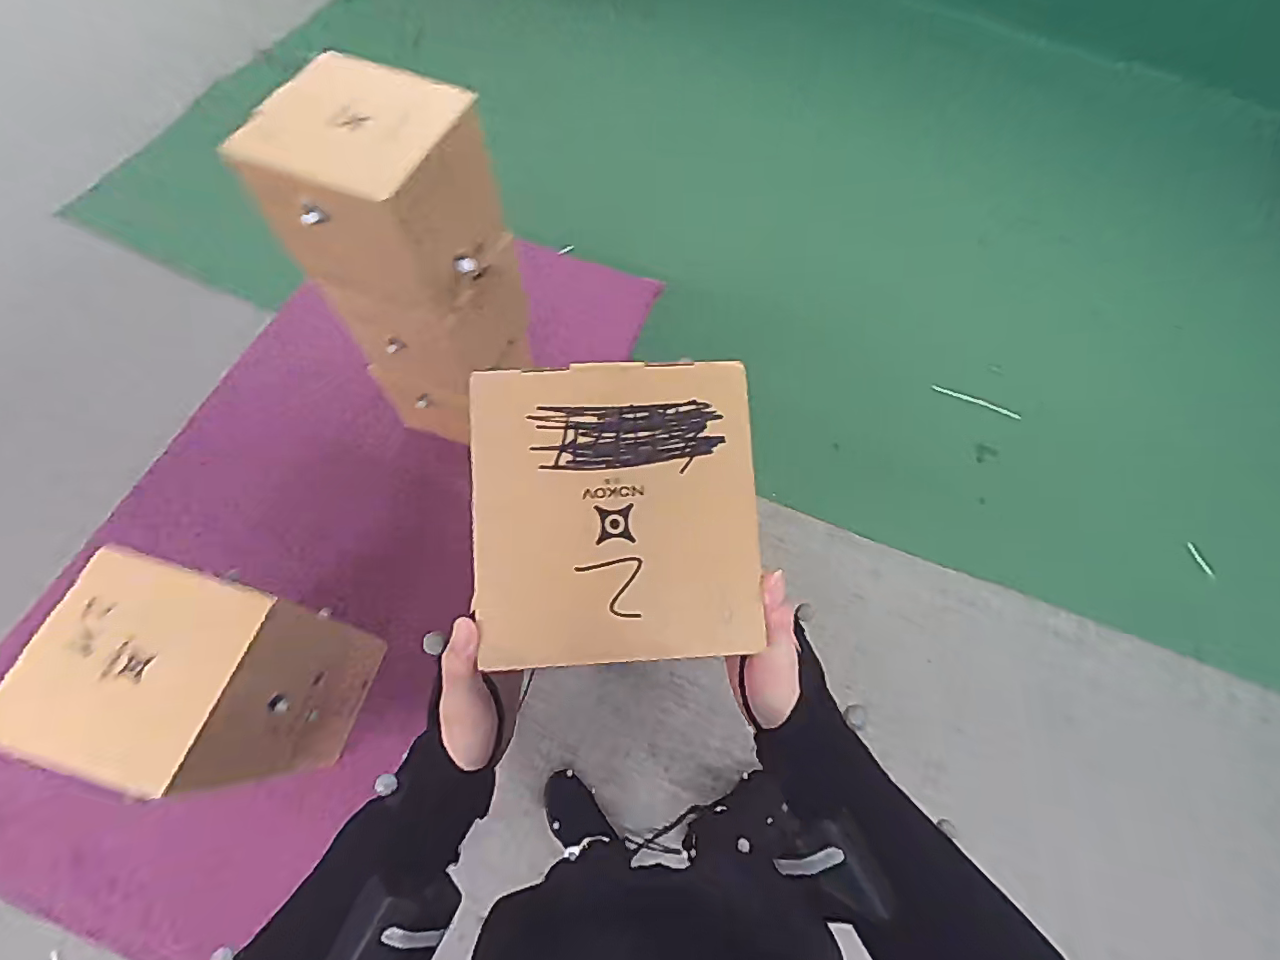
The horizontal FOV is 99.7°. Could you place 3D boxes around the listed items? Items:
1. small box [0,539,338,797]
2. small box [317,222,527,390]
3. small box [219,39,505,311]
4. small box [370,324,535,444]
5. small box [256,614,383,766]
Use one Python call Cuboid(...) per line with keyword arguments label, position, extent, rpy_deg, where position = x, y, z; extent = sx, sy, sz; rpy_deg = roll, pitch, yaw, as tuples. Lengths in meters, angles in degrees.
Cuboid(label="small box", position=(-0.435, 0.179, 0.521), extent=(0.179, 0.176, 0.168), rpy_deg=(17, 65, 3))
Cuboid(label="small box", position=(-0.269, -0.244, 0.721), extent=(0.179, 0.176, 0.168), rpy_deg=(20, 66, 7))
Cuboid(label="small box", position=(-0.268, -0.310, 0.572), extent=(0.179, 0.176, 0.168), rpy_deg=(22, 67, 7))
Cuboid(label="small box", position=(-0.285, -0.179, 0.872), extent=(0.179, 0.176, 0.168), rpy_deg=(18, 67, 6))
Cuboid(label="small box", position=(-0.463, 0.241, 0.673), extent=(0.179, 0.176, 0.168), rpy_deg=(15, 67, 3))
